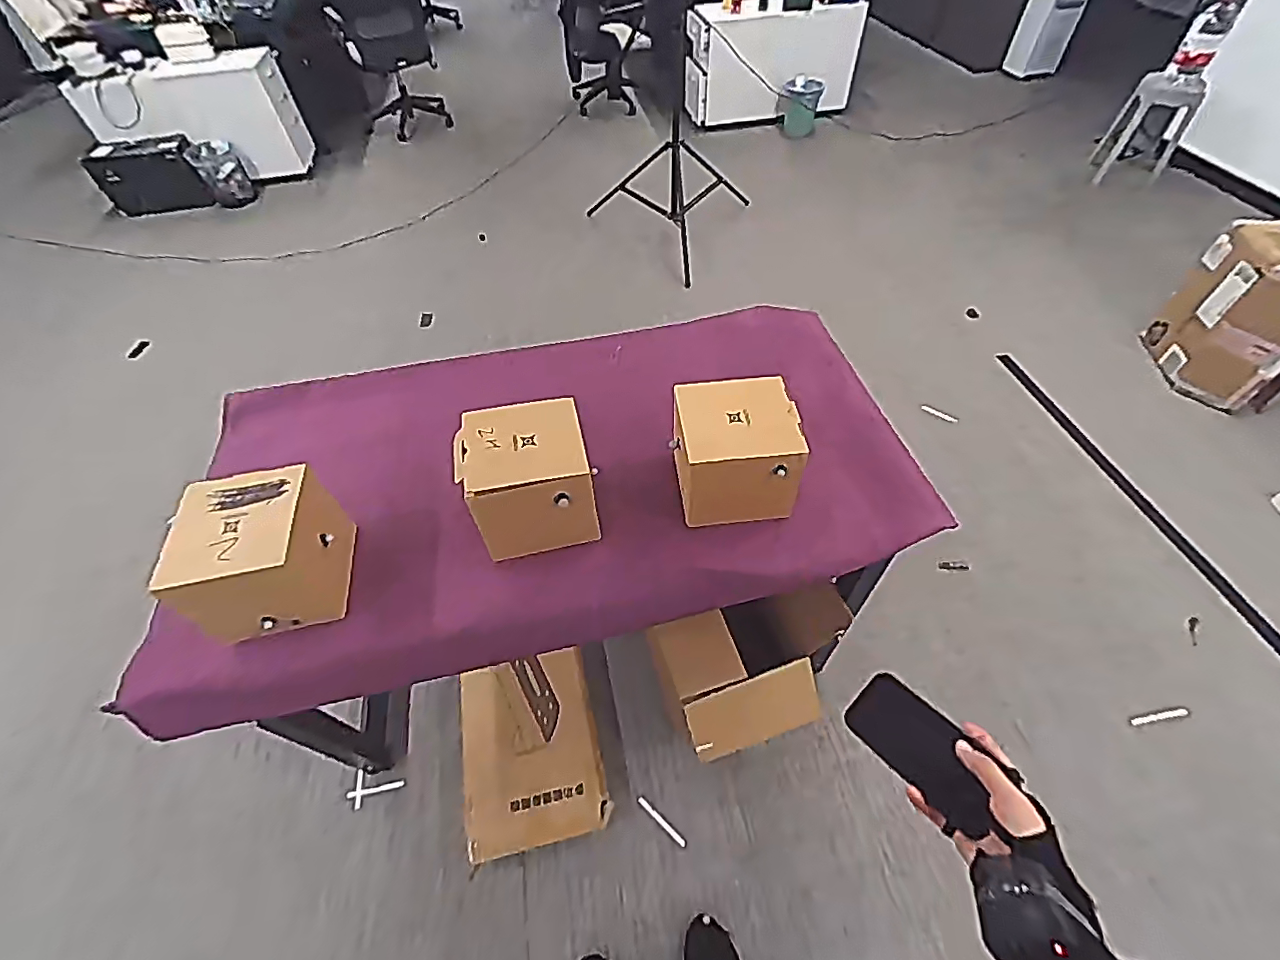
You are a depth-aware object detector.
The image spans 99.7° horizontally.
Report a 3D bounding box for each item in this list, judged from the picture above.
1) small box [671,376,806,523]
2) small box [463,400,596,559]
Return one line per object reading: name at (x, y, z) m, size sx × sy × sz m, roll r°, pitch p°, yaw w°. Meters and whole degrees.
small box at (0.147, -0.044, 0.872) m, size 0.179 × 0.176 × 0.168 m, roll -6°, pitch 52°, yaw -2°
small box at (-0.168, 0.002, 0.850) m, size 0.179 × 0.176 × 0.168 m, roll -12°, pitch 50°, yaw -6°
